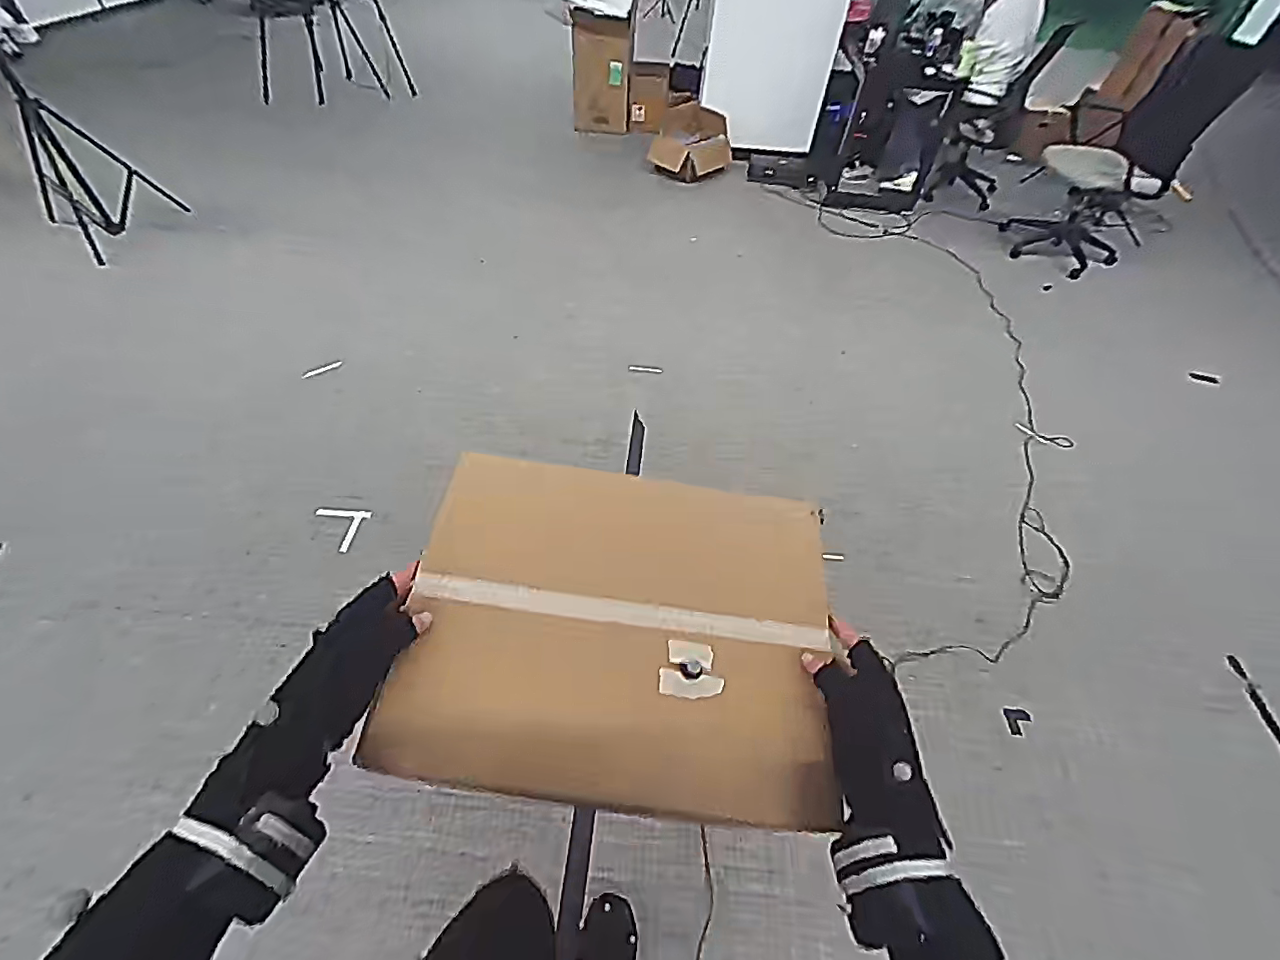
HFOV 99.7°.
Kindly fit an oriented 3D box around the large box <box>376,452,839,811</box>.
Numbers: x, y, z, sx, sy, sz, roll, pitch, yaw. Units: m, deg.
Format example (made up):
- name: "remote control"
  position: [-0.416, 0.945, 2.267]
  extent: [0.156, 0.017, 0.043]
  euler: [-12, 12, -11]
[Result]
- name: "large box"
  position: [-0.028, 0.200, 0.656]
  extent: [0.408, 0.320, 0.320]
  euler: [9, 58, -2]
